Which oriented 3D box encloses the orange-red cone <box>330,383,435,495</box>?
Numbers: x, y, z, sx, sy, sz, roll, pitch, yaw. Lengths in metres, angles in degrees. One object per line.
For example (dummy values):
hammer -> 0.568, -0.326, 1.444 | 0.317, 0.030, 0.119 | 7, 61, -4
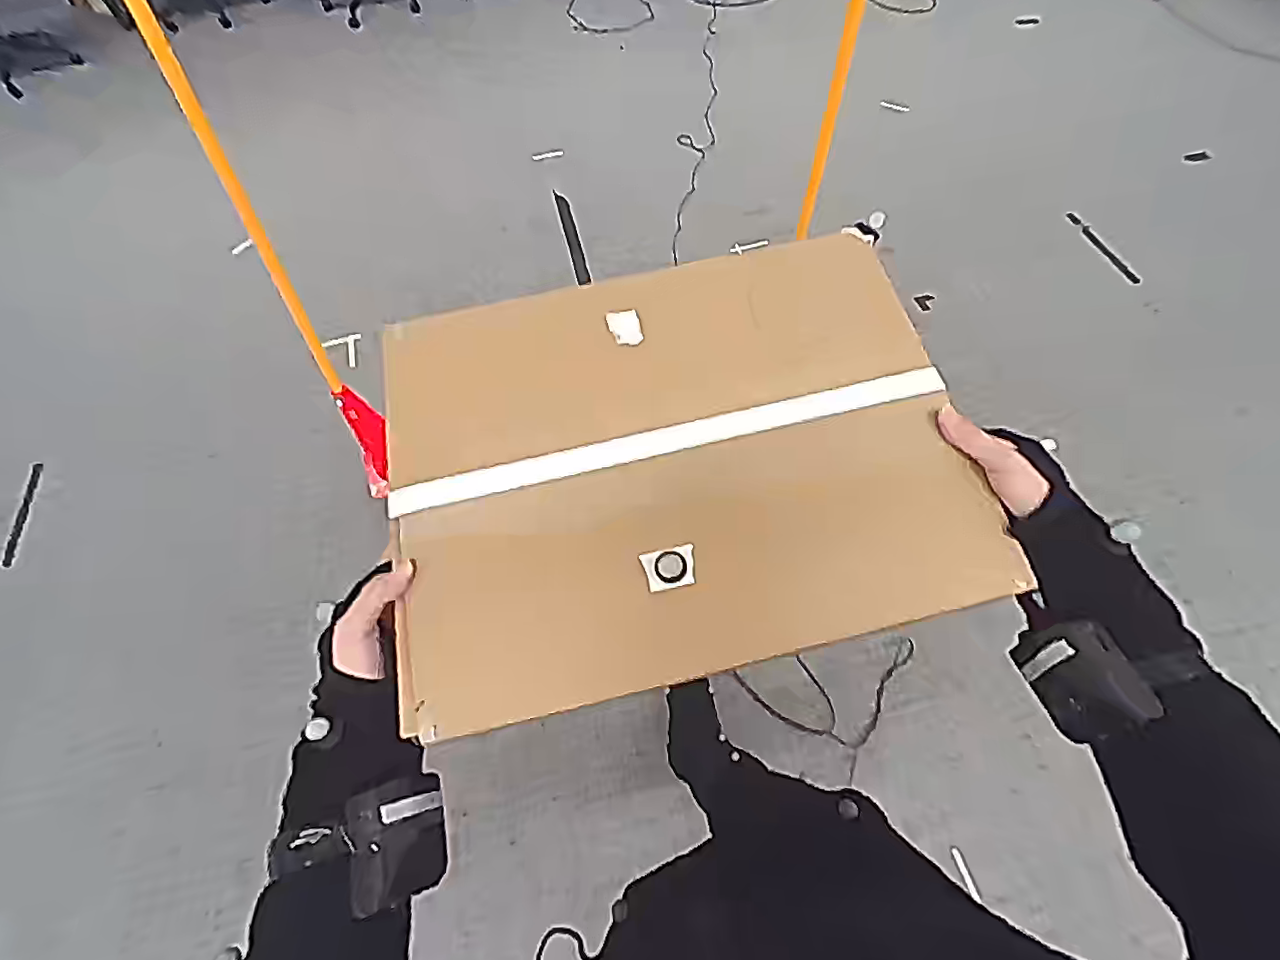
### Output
orange-red cone -> -0.745, -0.140, 1.496 | 0.199, 0.360, 0.198 | -22, 61, -7
